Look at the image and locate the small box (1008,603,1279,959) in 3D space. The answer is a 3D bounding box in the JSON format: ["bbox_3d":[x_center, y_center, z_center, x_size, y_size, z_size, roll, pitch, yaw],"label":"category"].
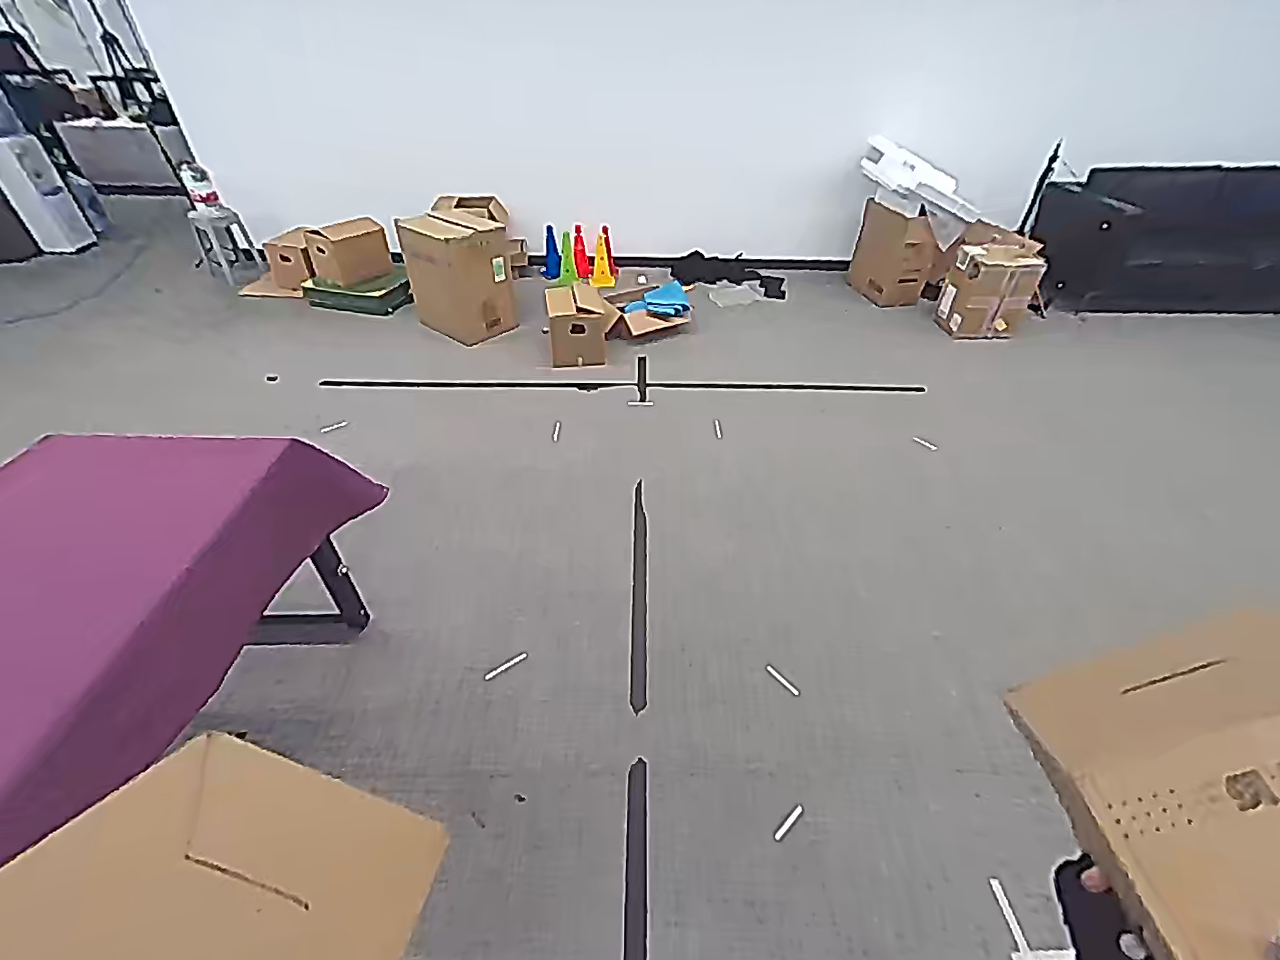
[{"bbox_3d":[0.336,0.177,0.287,0.168,0.179,0.176,-27,73,18],"label":"small box"}]
